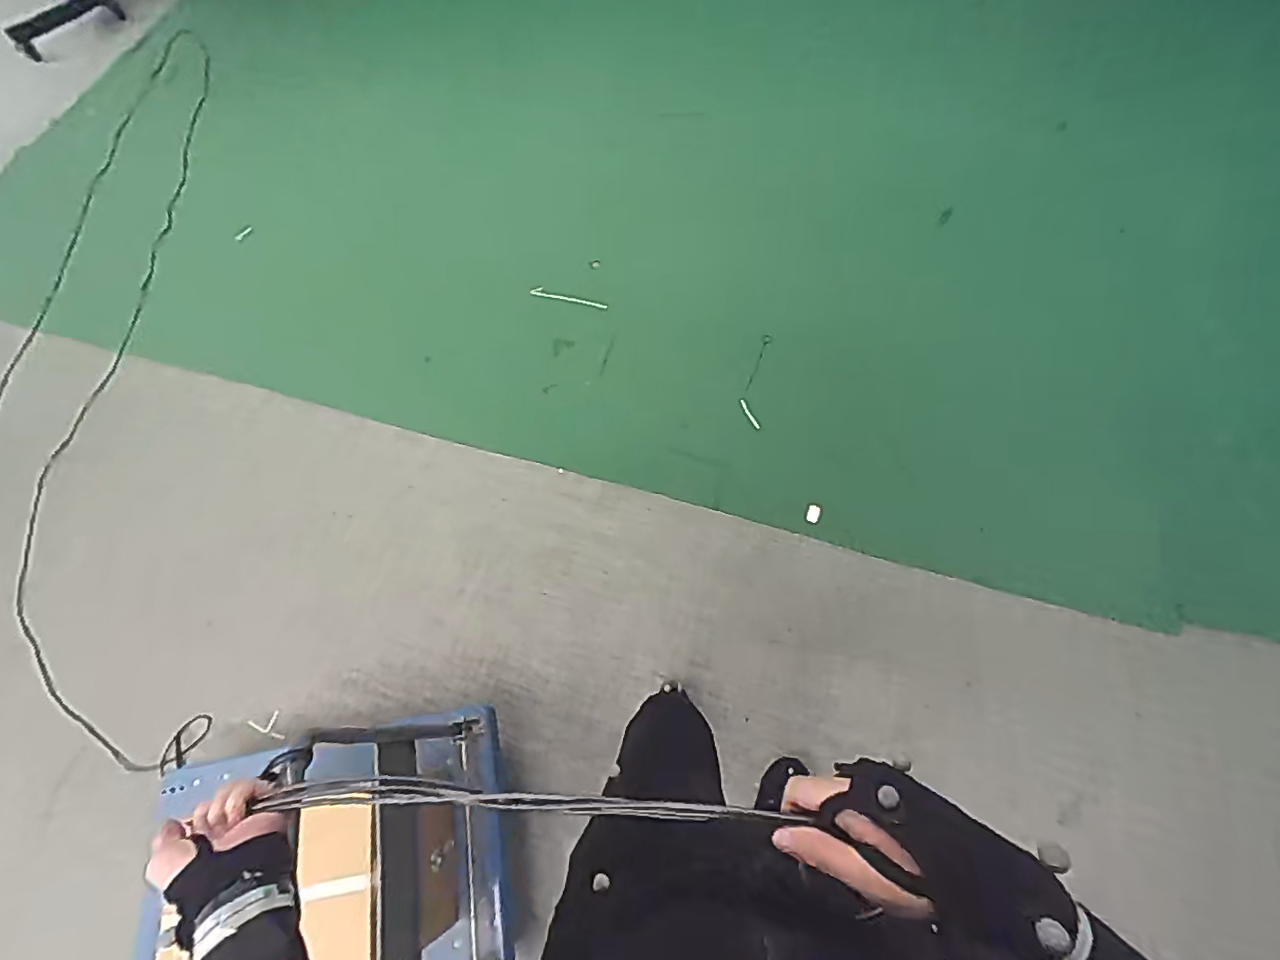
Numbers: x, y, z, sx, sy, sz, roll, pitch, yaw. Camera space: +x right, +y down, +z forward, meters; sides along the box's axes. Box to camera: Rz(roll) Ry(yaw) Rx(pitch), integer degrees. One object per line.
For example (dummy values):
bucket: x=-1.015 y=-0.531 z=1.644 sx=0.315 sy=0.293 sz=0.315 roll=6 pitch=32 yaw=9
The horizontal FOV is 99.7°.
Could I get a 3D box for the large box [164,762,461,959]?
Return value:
large box: x=-0.627 y=0.796 z=1.095 sx=0.408 sy=0.320 sz=0.320 roll=-14 pitch=66 yaw=4
